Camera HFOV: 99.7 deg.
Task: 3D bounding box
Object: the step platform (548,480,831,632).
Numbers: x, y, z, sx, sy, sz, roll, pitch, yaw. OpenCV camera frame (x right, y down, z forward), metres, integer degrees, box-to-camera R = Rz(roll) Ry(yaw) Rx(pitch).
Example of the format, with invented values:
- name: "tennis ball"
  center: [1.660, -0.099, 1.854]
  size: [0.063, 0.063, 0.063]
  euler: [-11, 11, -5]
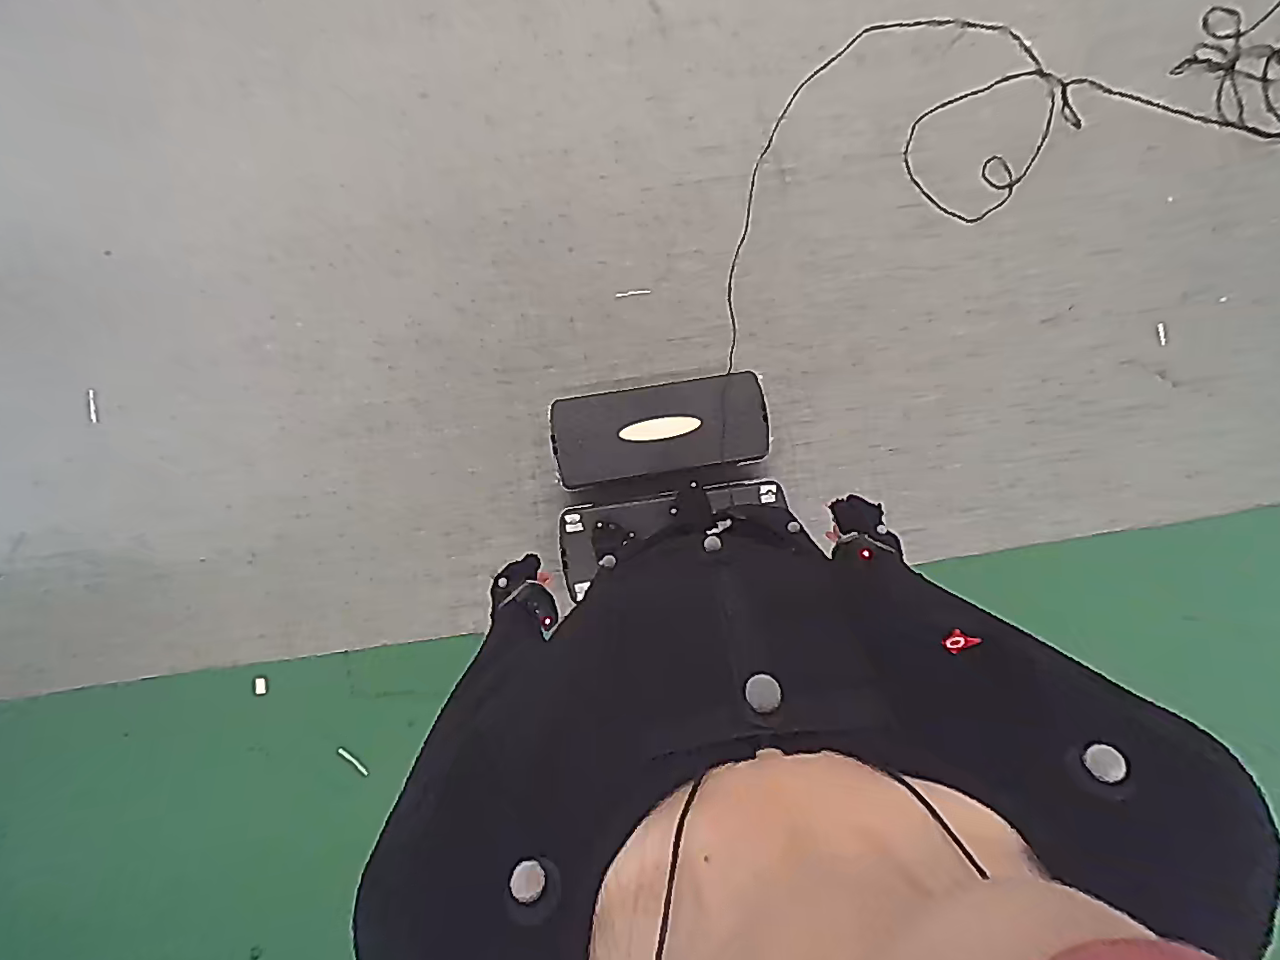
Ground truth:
- name: "step platform"
  center: [0.119, 0.189, 1.397]
  size: [0.684, 0.204, 0.286]
  euler: [-9, 87, -2]
